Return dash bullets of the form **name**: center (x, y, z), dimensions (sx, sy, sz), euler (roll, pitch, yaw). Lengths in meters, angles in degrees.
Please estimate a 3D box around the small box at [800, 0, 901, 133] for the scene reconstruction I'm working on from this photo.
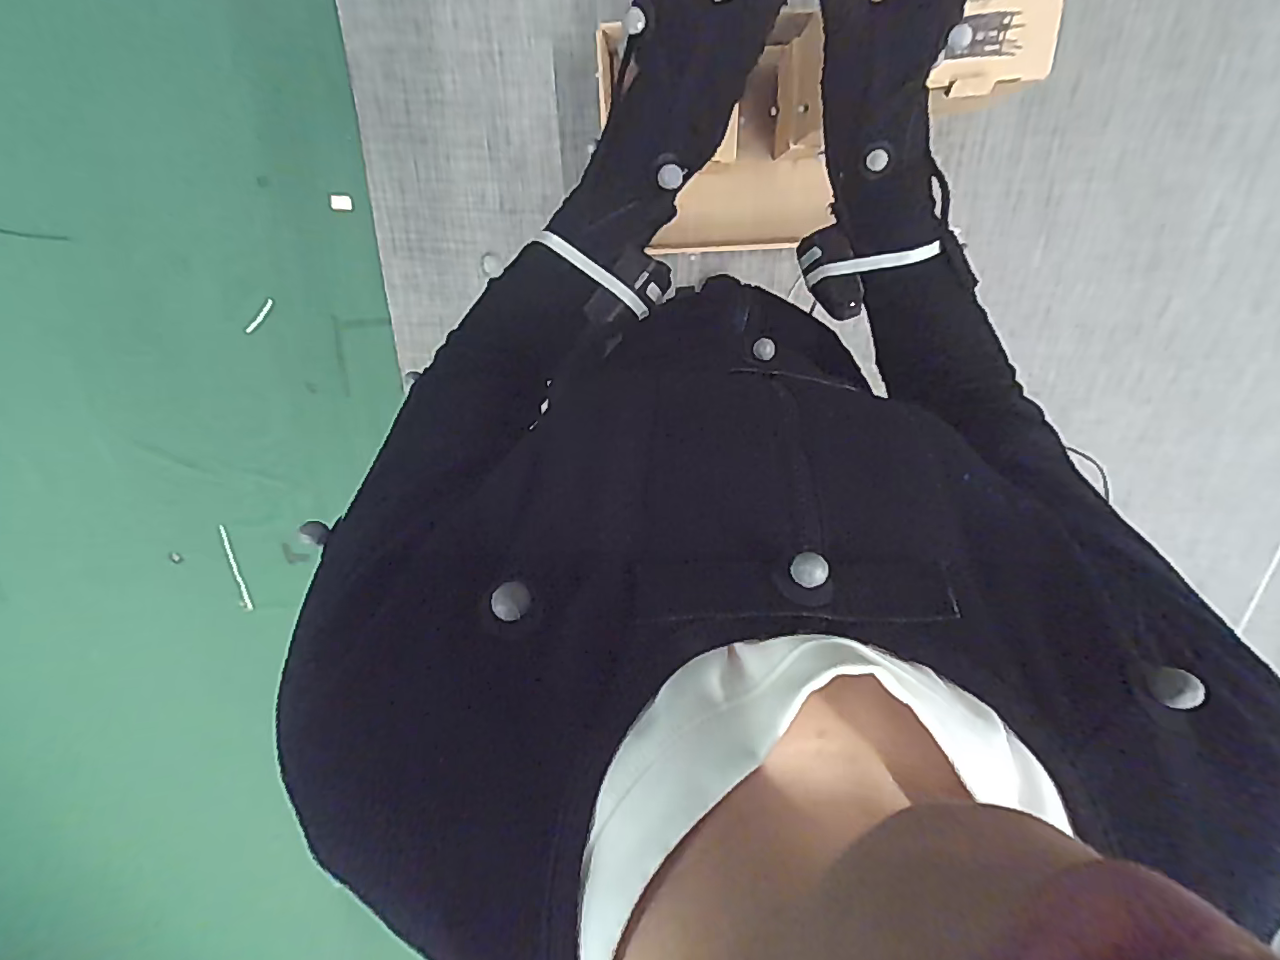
- **small box**: center (0.370, -0.690, 0.898), dimensions (0.168, 0.176, 0.179), euler (-1, 114, 3)

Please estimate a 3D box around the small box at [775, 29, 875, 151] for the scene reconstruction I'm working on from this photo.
- **small box**: center (0.363, -0.763, 1.065), dimensions (0.168, 0.176, 0.179), euler (-5, 113, 6)

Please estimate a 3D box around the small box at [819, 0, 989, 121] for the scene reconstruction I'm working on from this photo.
- **small box**: center (0.363, -0.624, 0.767), dimensions (0.168, 0.176, 0.179), euler (-1, 114, 2)
